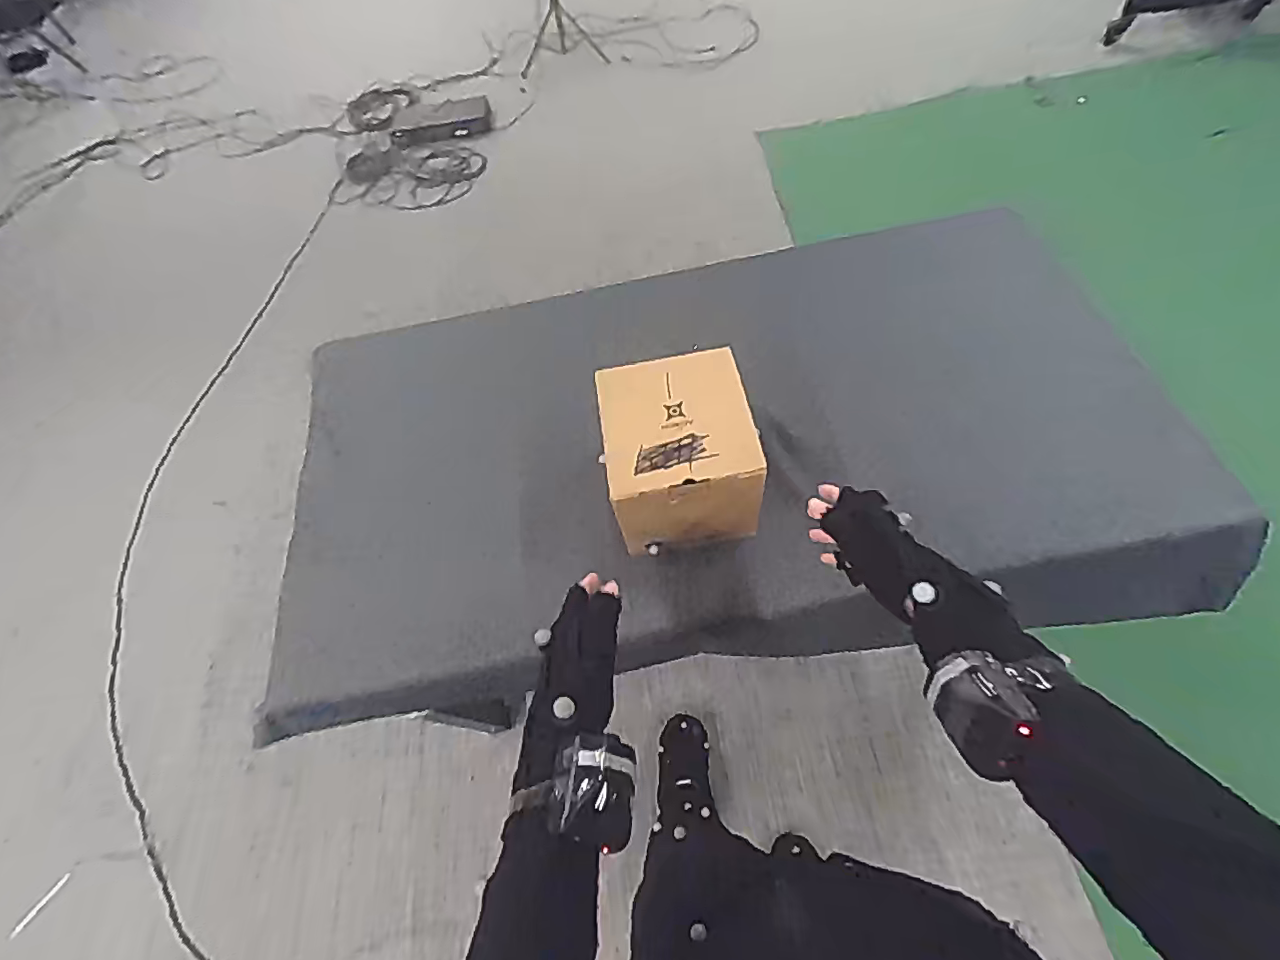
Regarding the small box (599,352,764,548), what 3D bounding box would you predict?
[{"bbox_3d":[0.051,-0.026,0.675,0.168,0.176,0.179,-10,60,2],"label":"small box"}]
